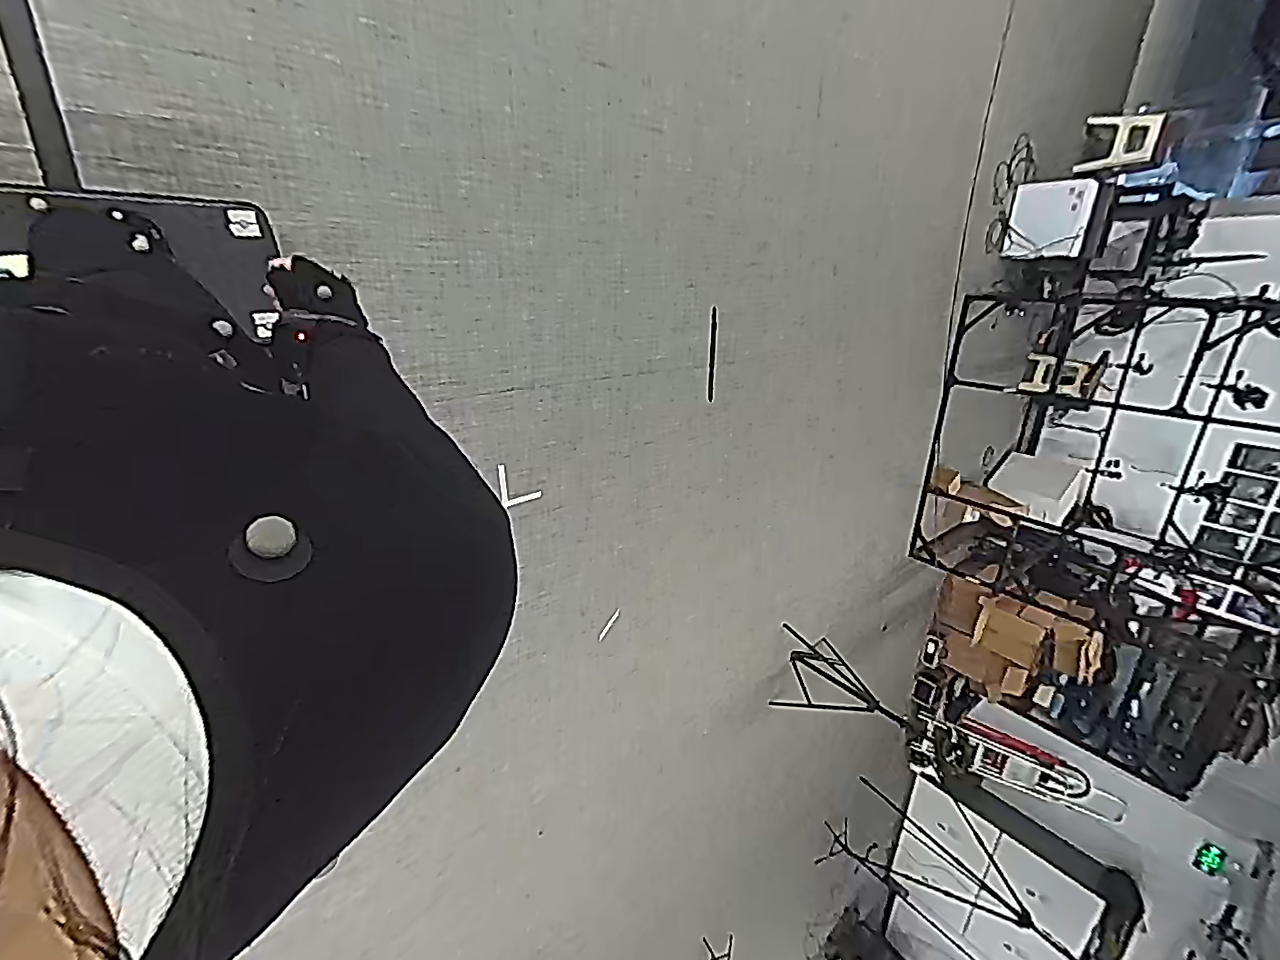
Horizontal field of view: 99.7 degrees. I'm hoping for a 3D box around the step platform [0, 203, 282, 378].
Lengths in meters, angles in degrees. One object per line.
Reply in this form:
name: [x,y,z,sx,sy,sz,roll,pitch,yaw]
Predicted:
step platform: [-1.079,-0.354,1.007,0.684,0.204,0.286,-17,118,-37]
